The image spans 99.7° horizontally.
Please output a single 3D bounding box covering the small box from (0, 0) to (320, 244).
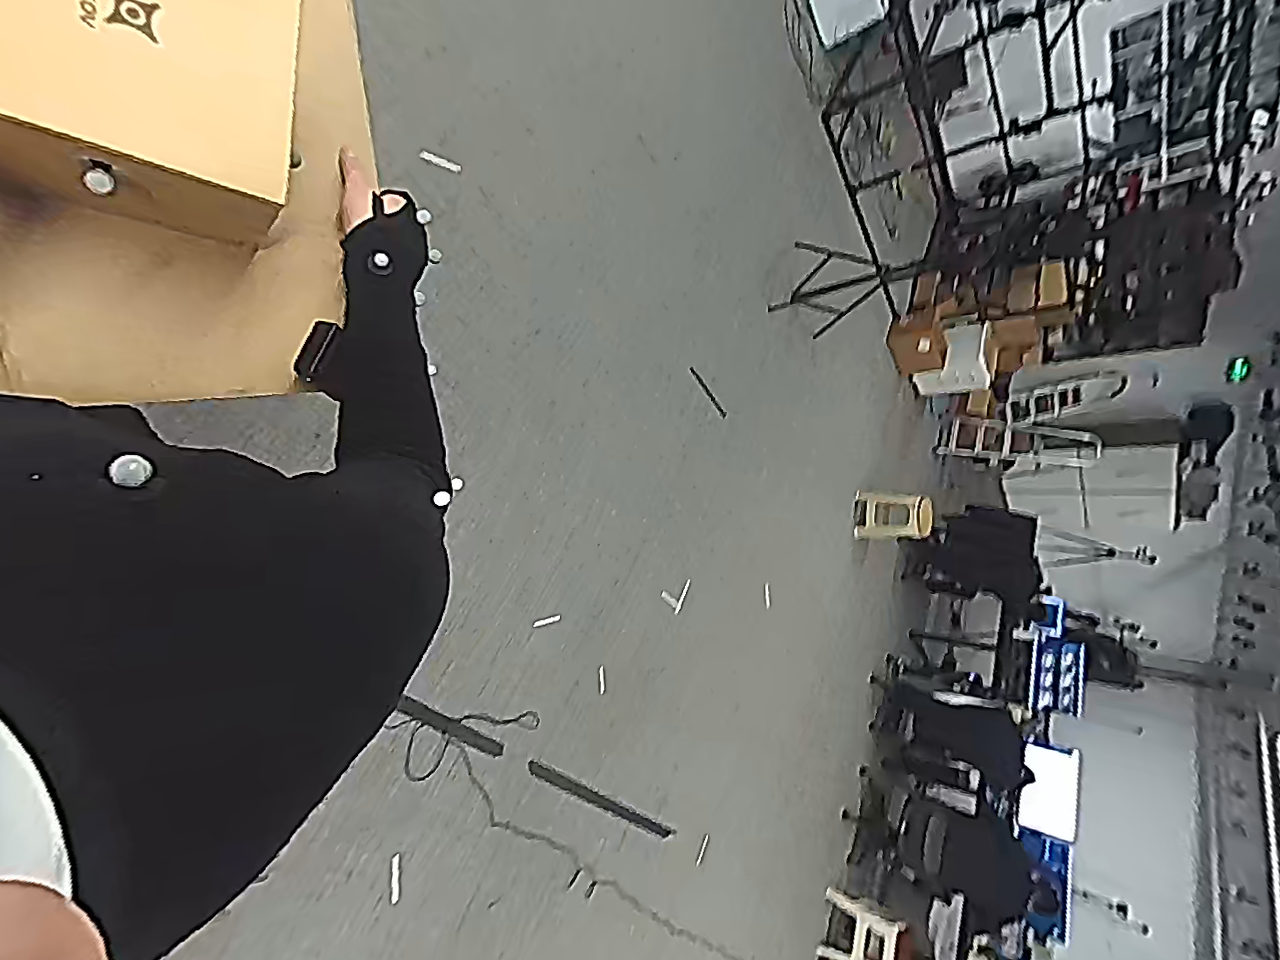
[{"bbox_3d":[-0.356,-0.289,0.395,0.179,0.176,0.168,4,95,-40],"label":"small box"}]
